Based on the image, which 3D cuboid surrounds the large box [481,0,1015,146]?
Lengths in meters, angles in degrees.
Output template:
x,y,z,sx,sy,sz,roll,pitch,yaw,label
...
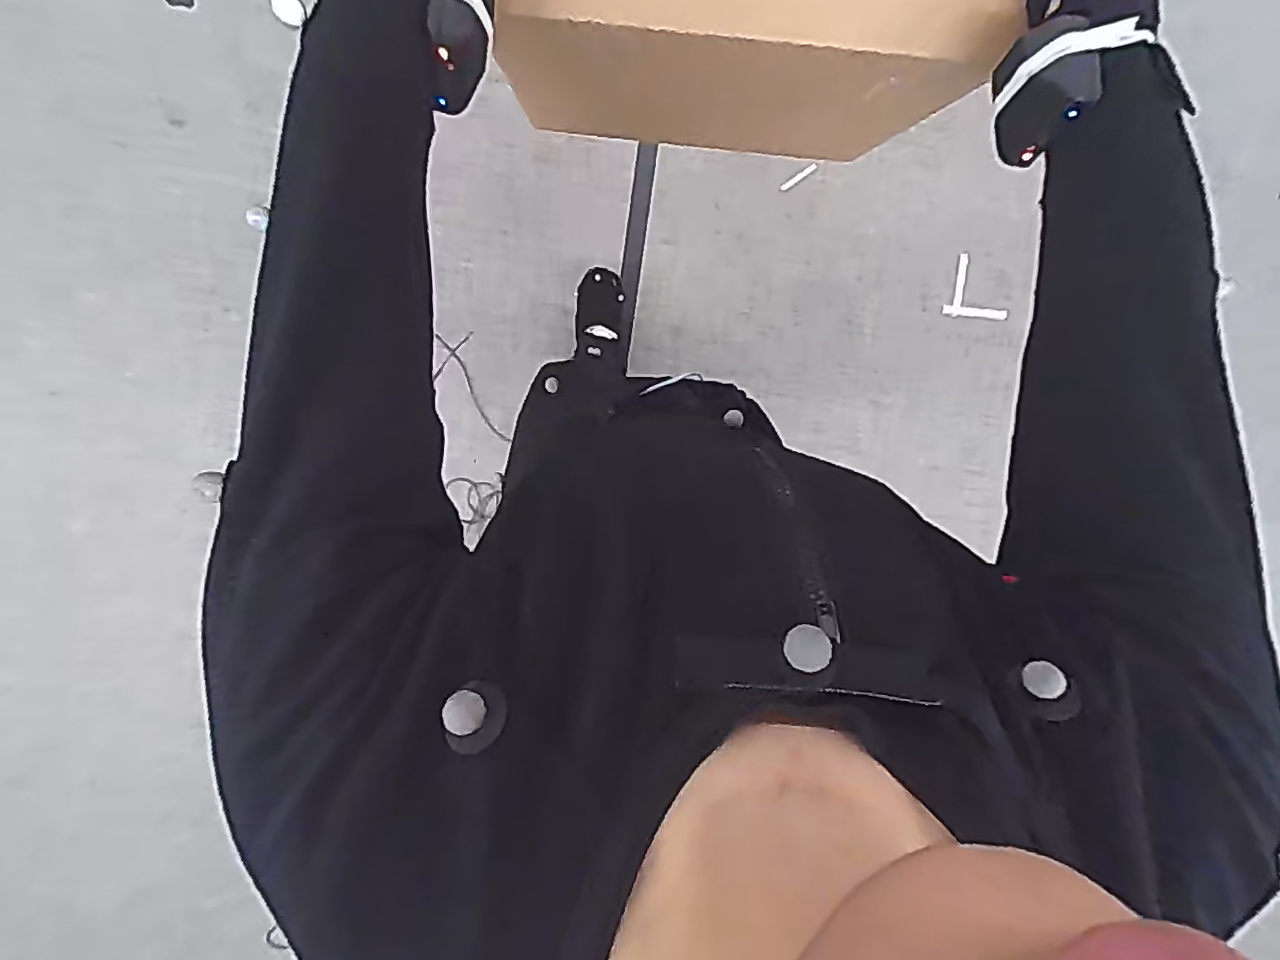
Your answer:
x,y,z,sx,sy,sz,roll,pitch,yaw,label
0.080,-0.526,0.487,0.408,0.320,0.320,3,110,-4,large box
